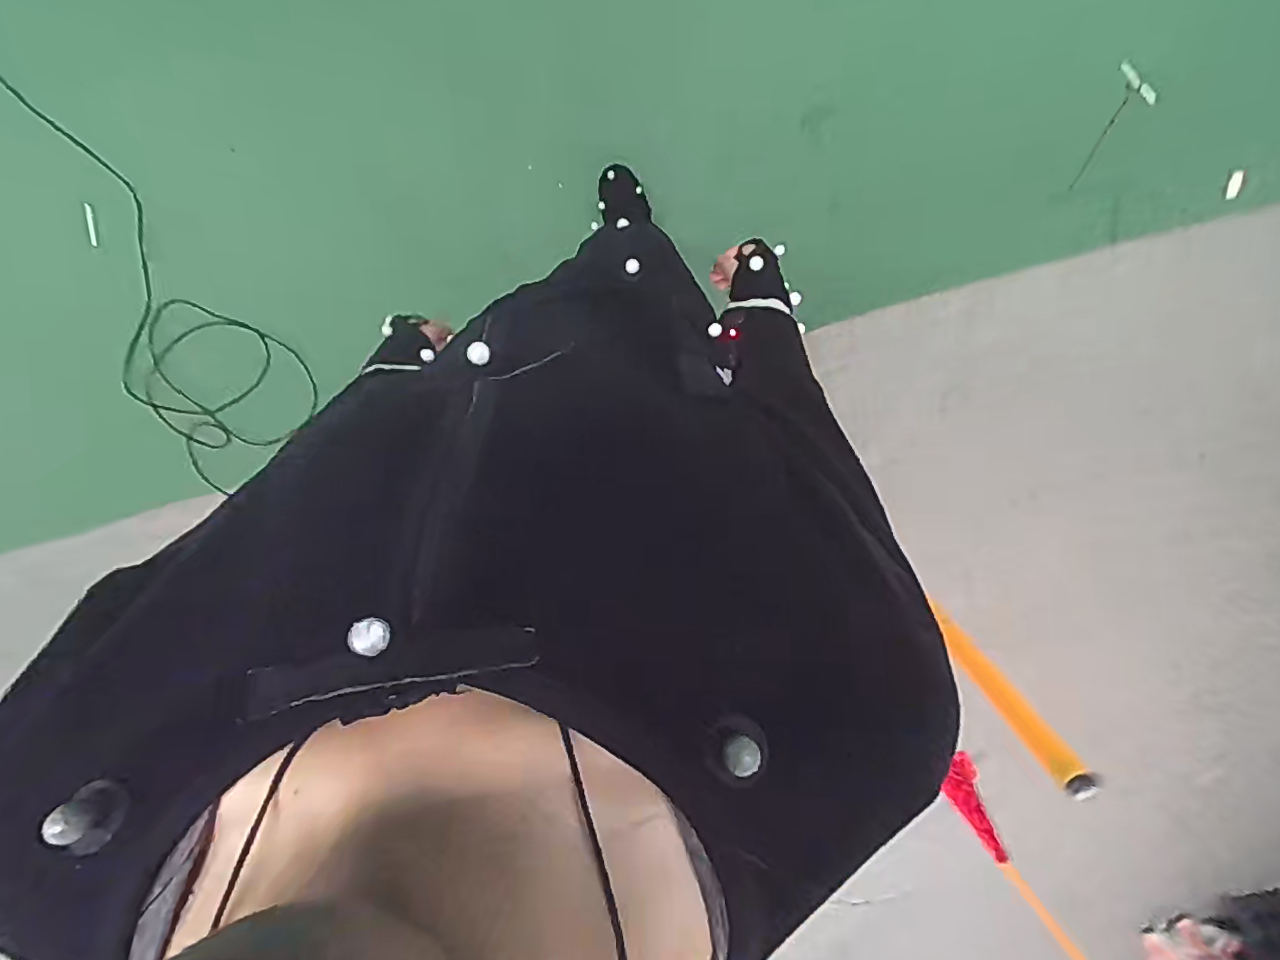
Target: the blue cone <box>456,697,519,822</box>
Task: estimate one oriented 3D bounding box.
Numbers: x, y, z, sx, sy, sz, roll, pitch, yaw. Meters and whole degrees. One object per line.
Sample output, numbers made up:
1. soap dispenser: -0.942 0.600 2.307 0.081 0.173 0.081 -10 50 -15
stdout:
1. blue cone: -0.539 0.943 1.805 0.192 0.380 0.193 27 114 -16
